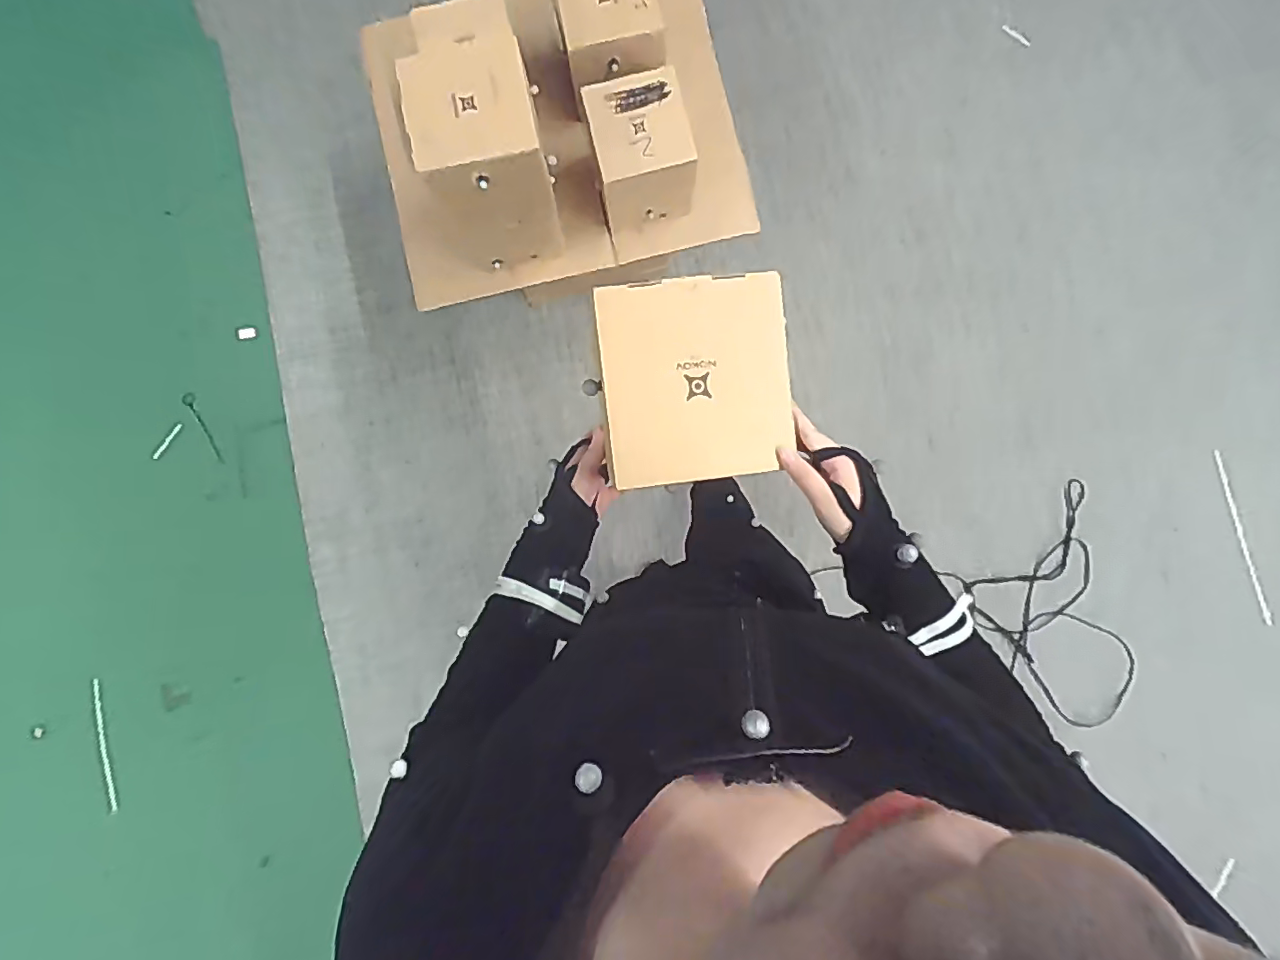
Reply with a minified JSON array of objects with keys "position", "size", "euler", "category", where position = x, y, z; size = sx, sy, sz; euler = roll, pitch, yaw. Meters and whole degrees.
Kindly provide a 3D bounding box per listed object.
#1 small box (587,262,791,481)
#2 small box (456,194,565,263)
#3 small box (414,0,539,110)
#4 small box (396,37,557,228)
[{"position":[0.040,-0.100,0.549],"size":[0.168,0.176,0.179],"euler":[-8,94,-4],"category":"small box"},{"position":[-0.241,-0.517,0.985],"size":[0.168,0.176,0.179],"euler":[-12,86,1],"category":"small box"},{"position":[-0.288,-0.735,0.999],"size":[0.168,0.176,0.179],"euler":[-14,85,2],"category":"small box"},{"position":[-0.237,-0.511,0.821],"size":[0.179,0.176,0.168],"euler":[-11,88,0],"category":"small box"}]
